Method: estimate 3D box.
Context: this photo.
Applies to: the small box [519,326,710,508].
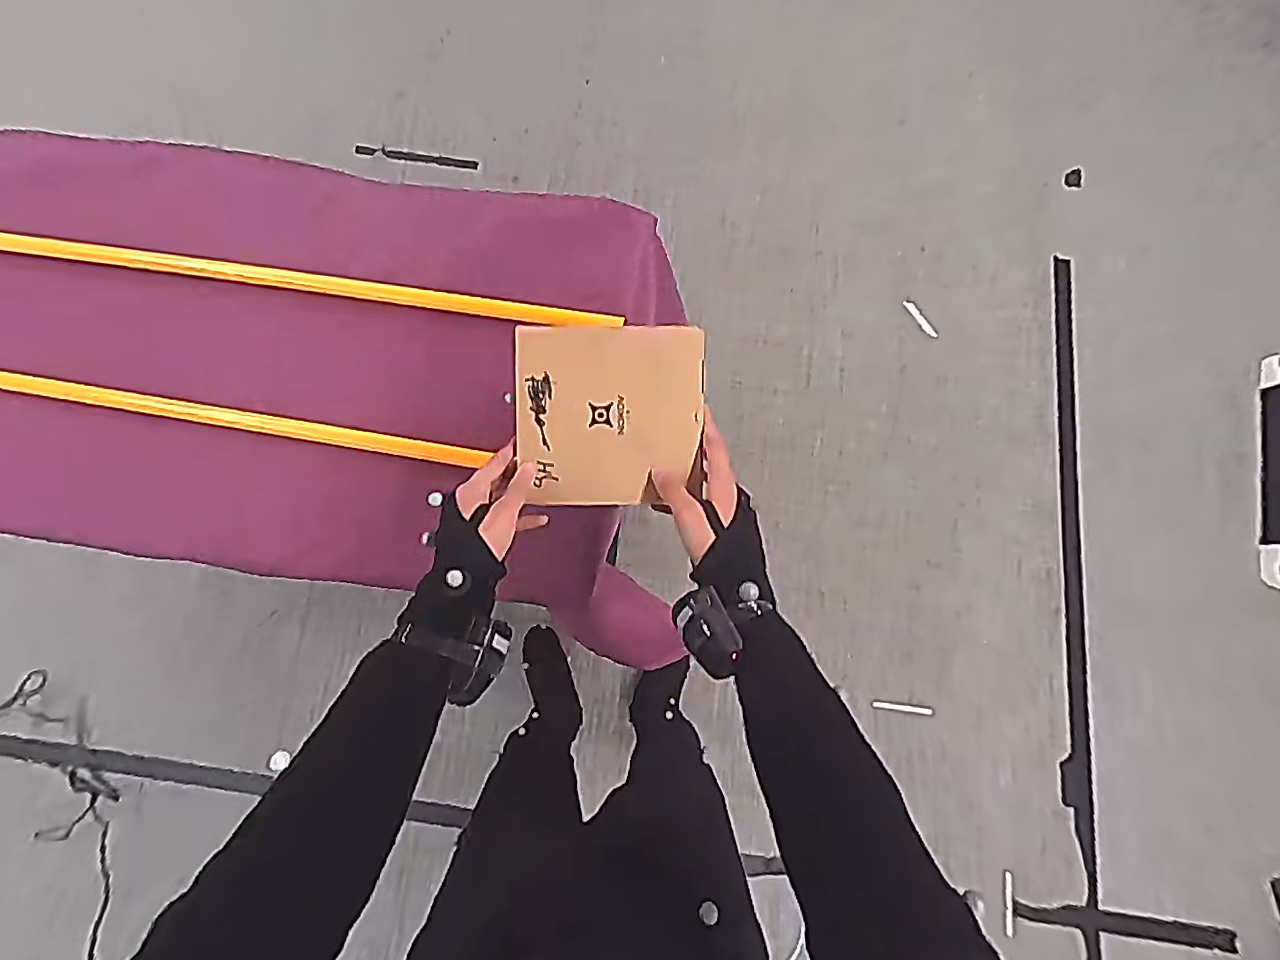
[{"bbox_3d":[-0.027,-0.062,0.576,0.179,0.176,0.168,1,93,-1],"label":"small box"}]
